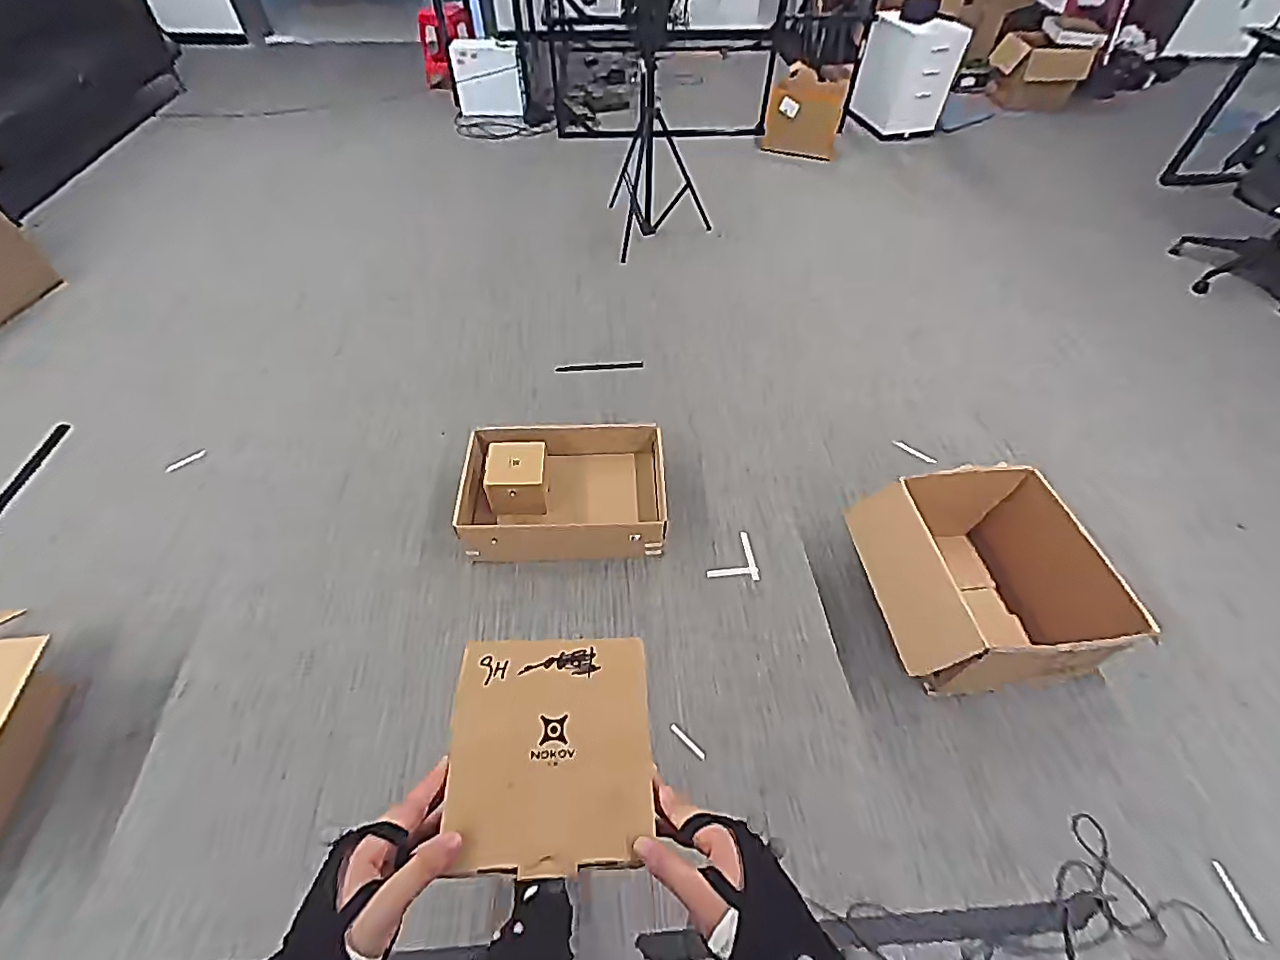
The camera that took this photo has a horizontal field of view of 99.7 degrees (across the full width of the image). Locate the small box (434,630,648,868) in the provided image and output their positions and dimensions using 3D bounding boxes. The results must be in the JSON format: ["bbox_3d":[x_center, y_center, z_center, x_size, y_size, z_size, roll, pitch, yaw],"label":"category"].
[{"bbox_3d":[-0.081,0.258,0.518,0.168,0.176,0.179,-1,55,-5],"label":"small box"}]

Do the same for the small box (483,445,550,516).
[{"bbox_3d":[-0.386,0.005,1.715,0.179,0.176,0.168,-1,54,-4],"label":"small box"}]
